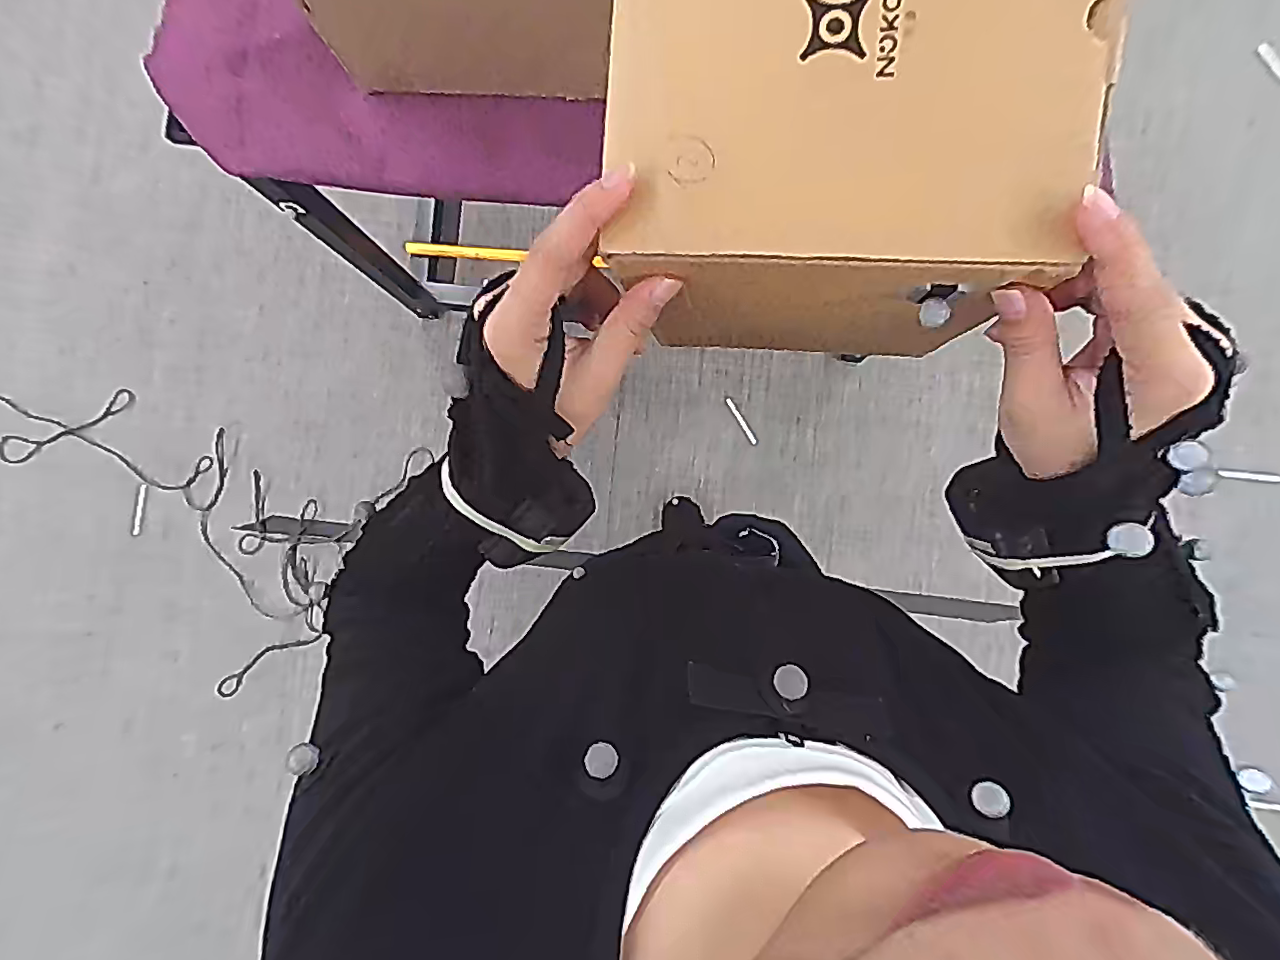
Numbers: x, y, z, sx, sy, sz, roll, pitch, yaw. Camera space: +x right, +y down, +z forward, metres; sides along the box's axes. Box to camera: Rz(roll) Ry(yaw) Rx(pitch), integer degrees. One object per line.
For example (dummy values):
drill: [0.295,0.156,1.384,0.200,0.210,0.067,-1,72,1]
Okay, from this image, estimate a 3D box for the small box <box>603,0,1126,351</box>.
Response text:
small box: [0.089,-0.165,0.273,0.179,0.176,0.168,5,93,8]
